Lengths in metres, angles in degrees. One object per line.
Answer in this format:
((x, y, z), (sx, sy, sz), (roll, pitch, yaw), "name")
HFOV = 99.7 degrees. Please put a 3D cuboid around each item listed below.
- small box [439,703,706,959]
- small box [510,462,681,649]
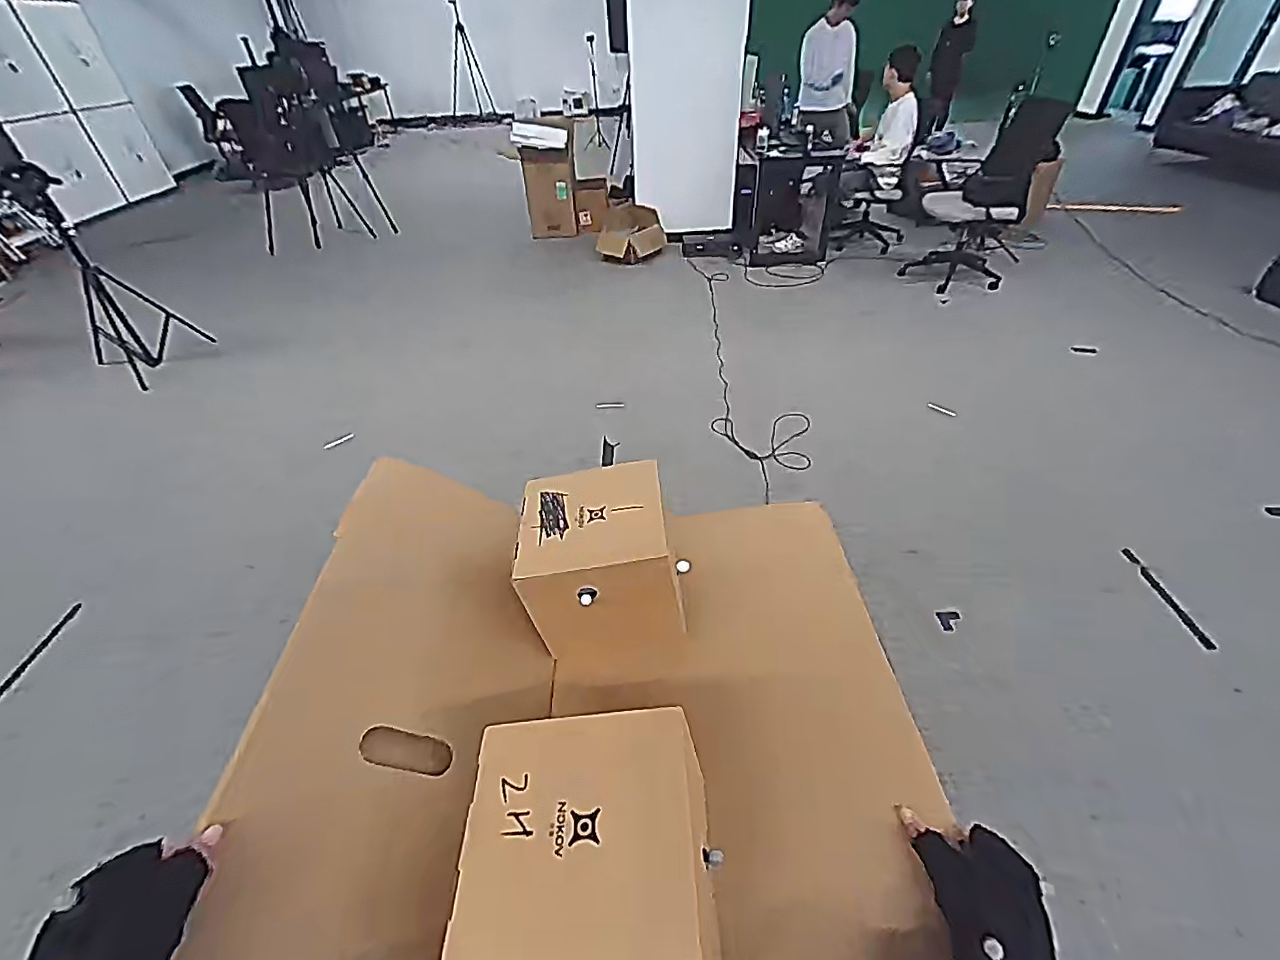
((-0.038, 0.315, 0.468), (0.179, 0.176, 0.168), (-8, 41, 7), "small box")
((-0.049, 0.103, 0.707), (0.179, 0.176, 0.168), (-9, 42, 4), "small box")
